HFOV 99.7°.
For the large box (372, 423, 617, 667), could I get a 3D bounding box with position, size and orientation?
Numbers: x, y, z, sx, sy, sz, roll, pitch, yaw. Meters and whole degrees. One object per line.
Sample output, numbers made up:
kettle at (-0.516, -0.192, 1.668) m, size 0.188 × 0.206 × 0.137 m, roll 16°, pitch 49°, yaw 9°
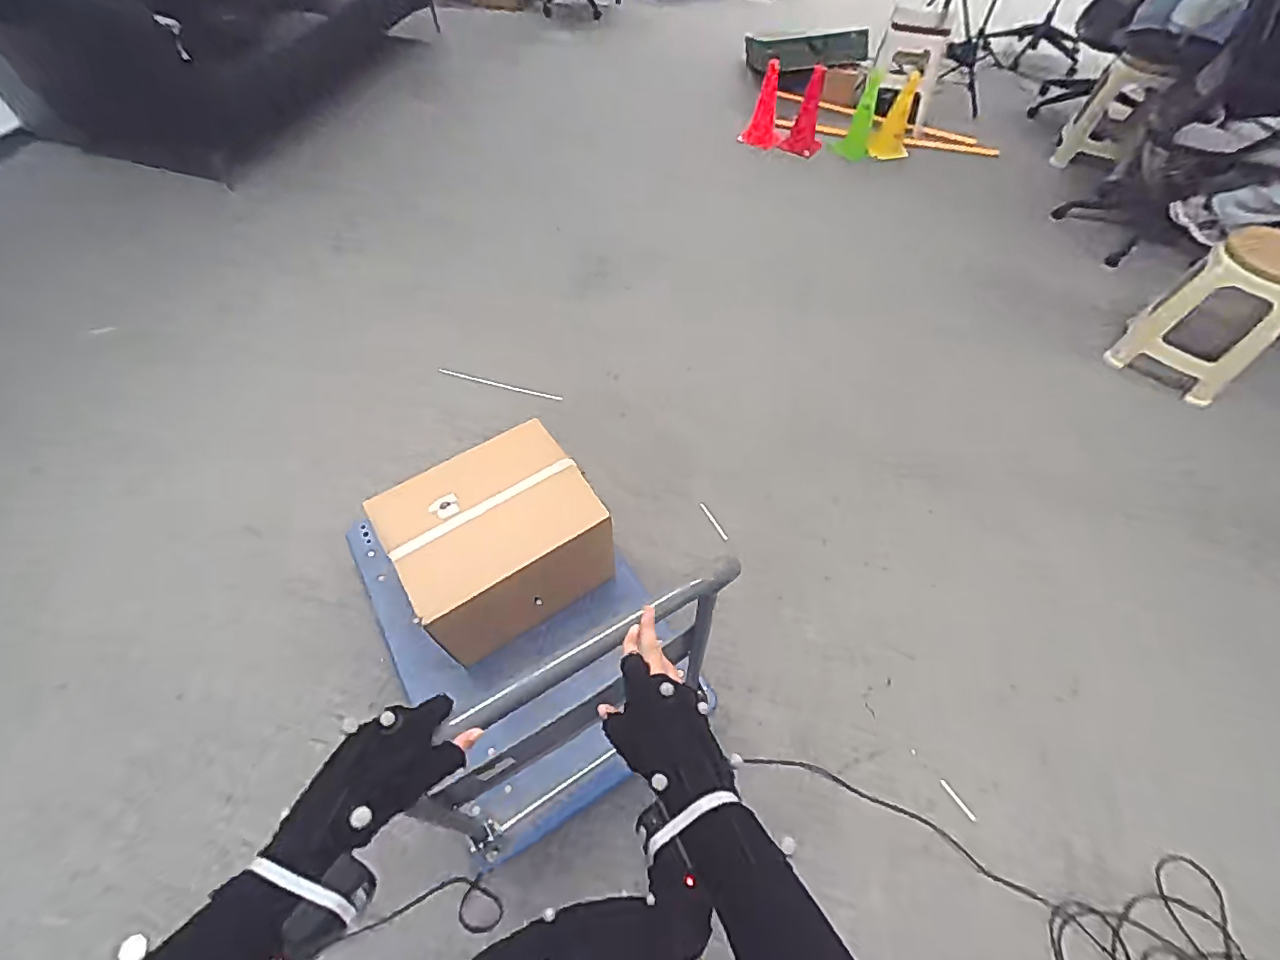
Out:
large box at (-0.300, 0.149, 1.224) m, size 0.408 × 0.320 × 0.320 m, roll -32°, pitch 62°, yaw -19°
